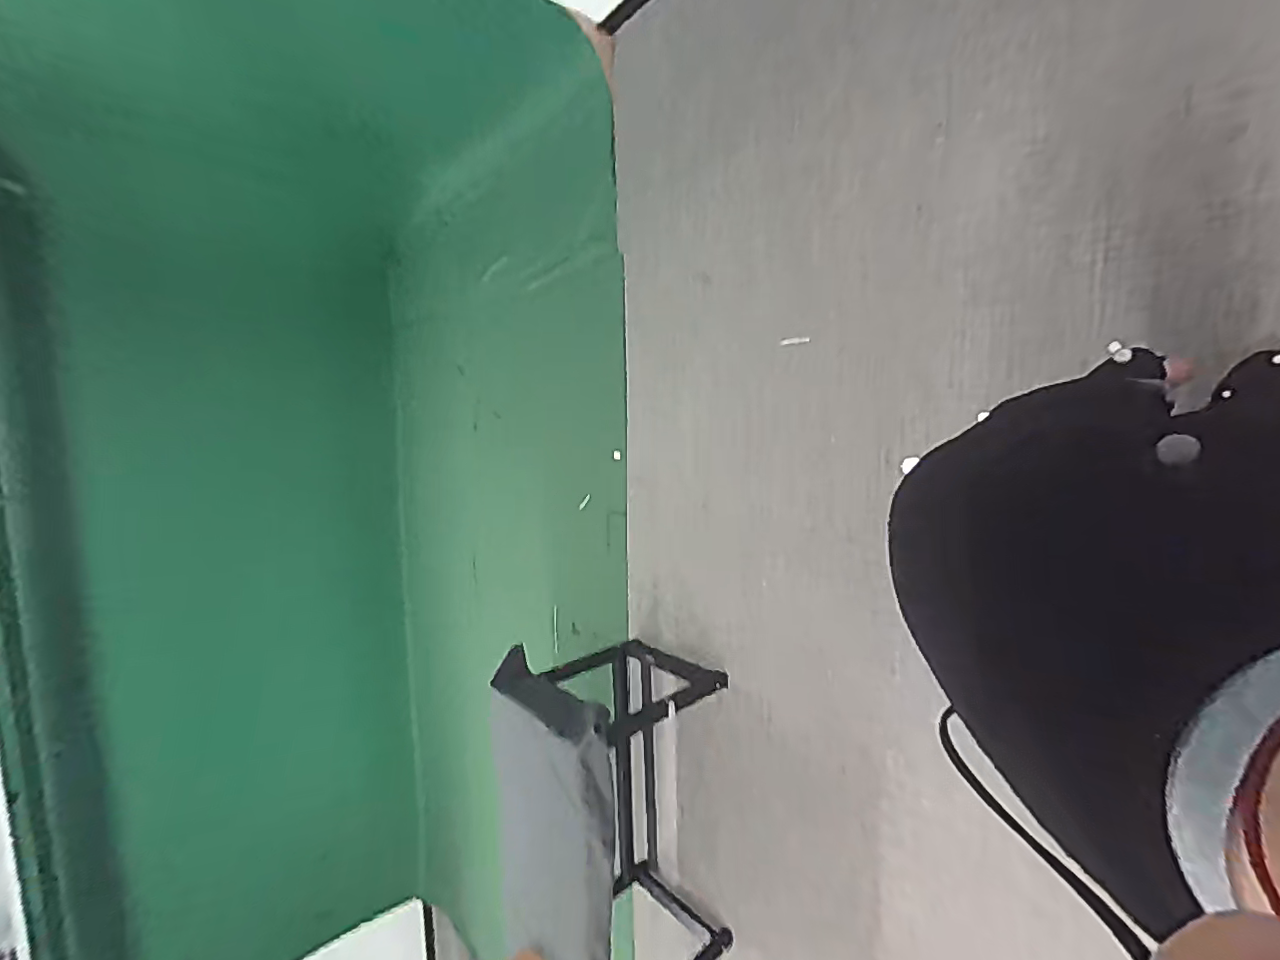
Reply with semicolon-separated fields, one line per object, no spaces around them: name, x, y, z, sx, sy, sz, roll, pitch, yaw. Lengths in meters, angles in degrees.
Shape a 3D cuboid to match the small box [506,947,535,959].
small box;-0.433;1.818;1.903;0.179;0.176;0.168;7;99;47
